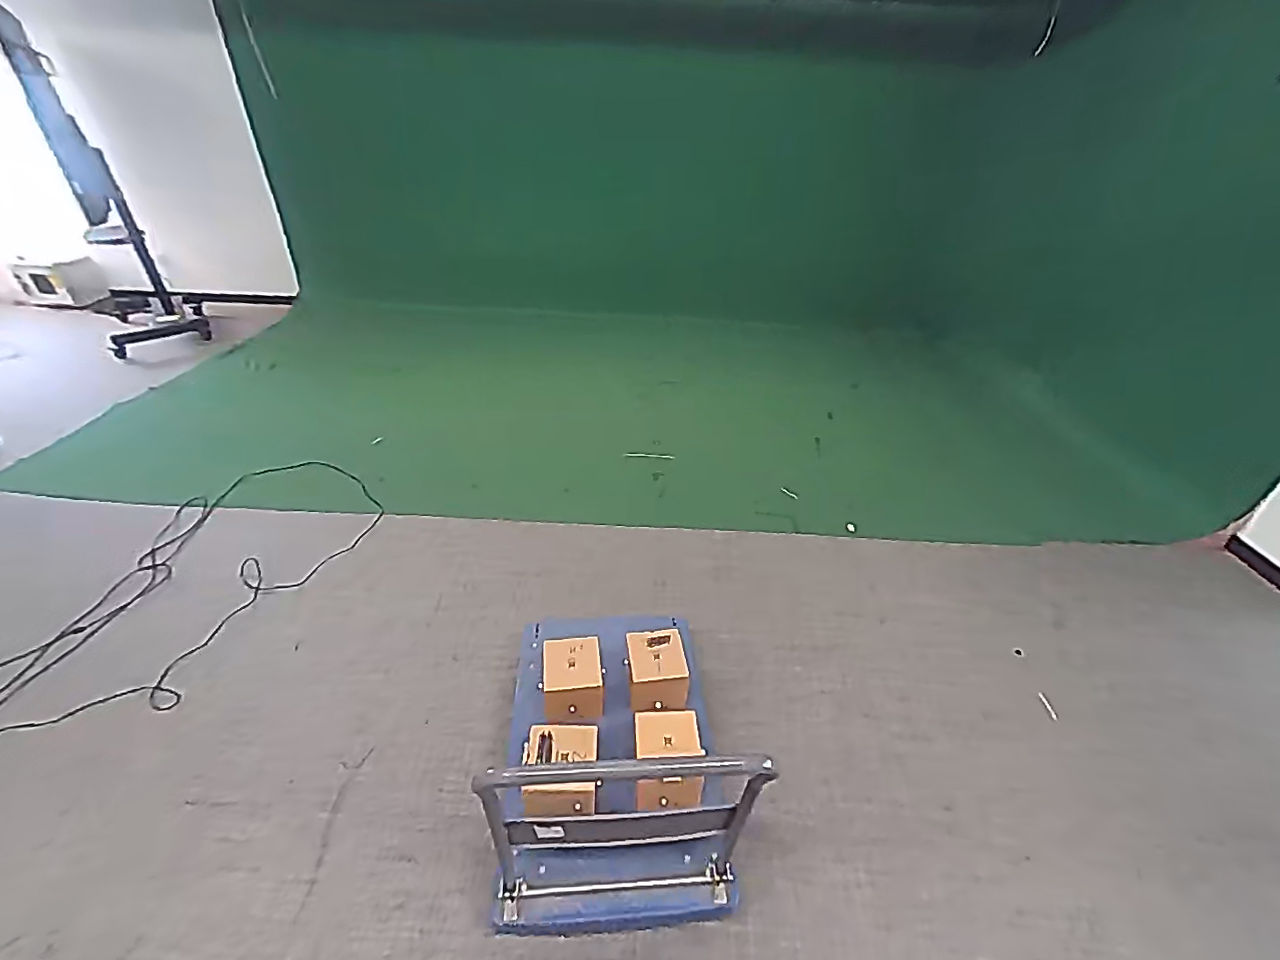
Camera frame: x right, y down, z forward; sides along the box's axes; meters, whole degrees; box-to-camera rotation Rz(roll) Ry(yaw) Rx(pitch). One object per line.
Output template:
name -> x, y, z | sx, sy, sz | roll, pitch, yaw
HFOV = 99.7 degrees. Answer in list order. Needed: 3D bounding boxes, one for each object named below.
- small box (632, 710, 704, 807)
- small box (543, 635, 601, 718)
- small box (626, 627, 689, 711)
small box -> 0.067, 0.737, 1.434 | 0.168, 0.176, 0.179 | 0, 36, -4
small box -> -0.202, 0.591, 1.616 | 0.168, 0.176, 0.179 | -2, 36, -8
small box -> 0.047, 0.578, 1.652 | 0.168, 0.176, 0.179 | -3, 37, -7
